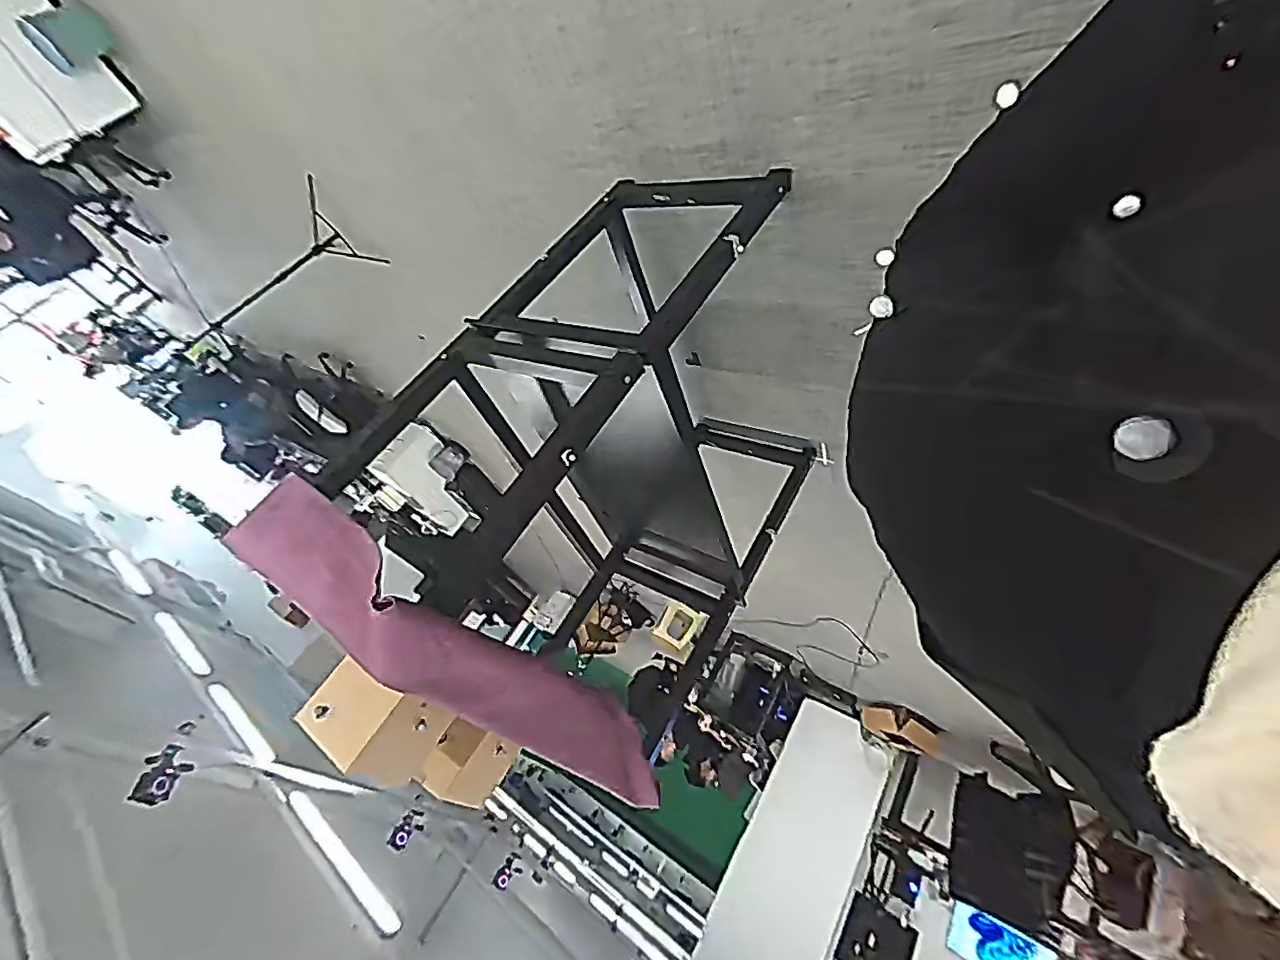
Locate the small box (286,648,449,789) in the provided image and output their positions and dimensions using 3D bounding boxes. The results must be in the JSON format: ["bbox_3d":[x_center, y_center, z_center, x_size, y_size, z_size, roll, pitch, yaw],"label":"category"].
[{"bbox_3d":[-0.497,0.435,1.007,0.179,0.176,0.168,20,154,31],"label":"small box"}]

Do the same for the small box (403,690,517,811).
[{"bbox_3d":[-0.410,0.597,1.204,0.168,0.176,0.179,21,152,30],"label":"small box"}]
